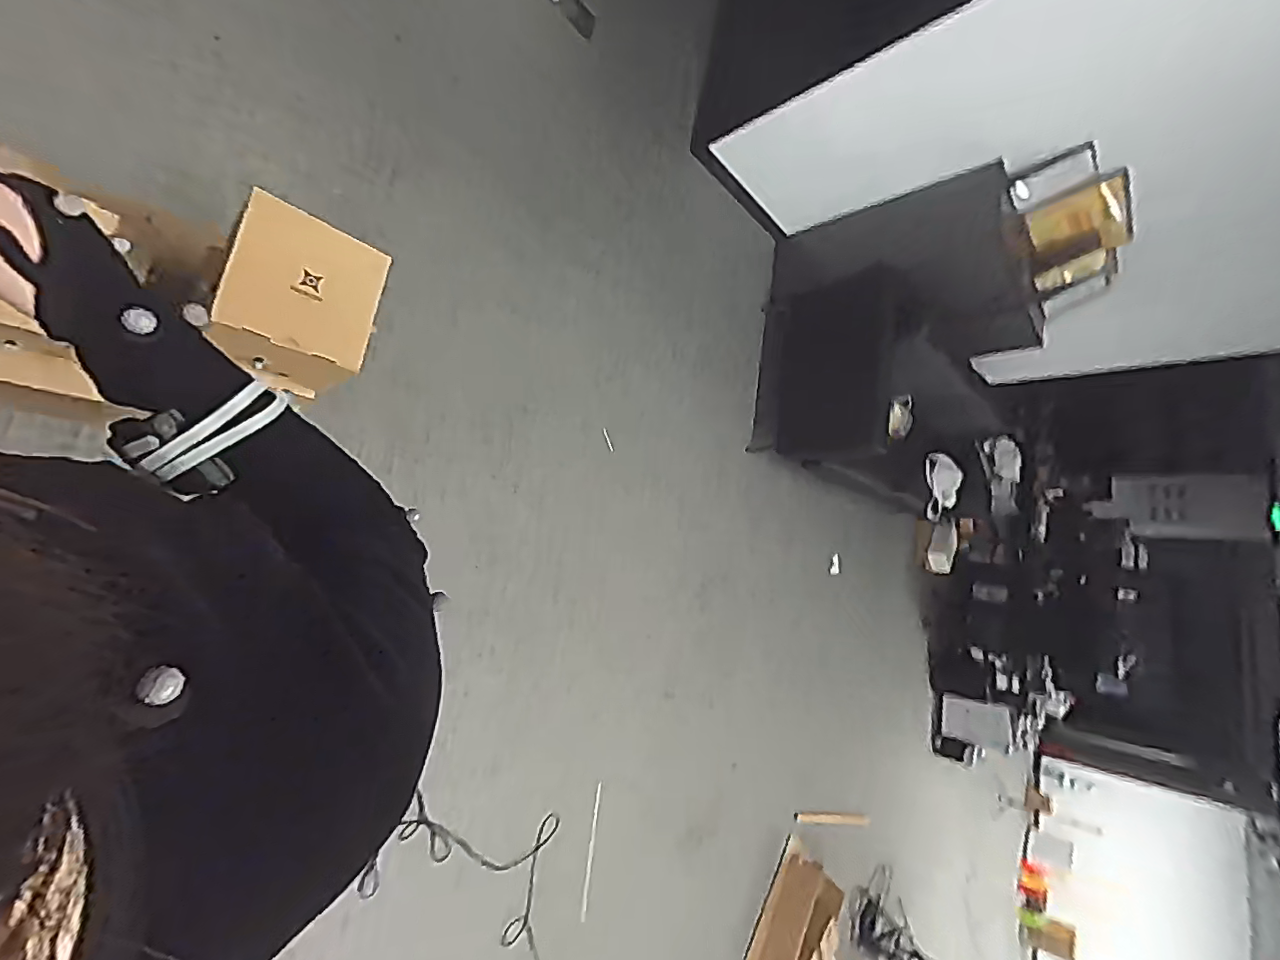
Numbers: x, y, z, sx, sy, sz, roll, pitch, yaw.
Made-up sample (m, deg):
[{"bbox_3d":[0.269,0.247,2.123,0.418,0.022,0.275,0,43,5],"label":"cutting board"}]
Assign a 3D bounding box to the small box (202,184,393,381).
[{"bbox_3d":[-0.473,-0.255,0.746,0.168,0.176,0.179,20,74,-43],"label":"small box"}]
